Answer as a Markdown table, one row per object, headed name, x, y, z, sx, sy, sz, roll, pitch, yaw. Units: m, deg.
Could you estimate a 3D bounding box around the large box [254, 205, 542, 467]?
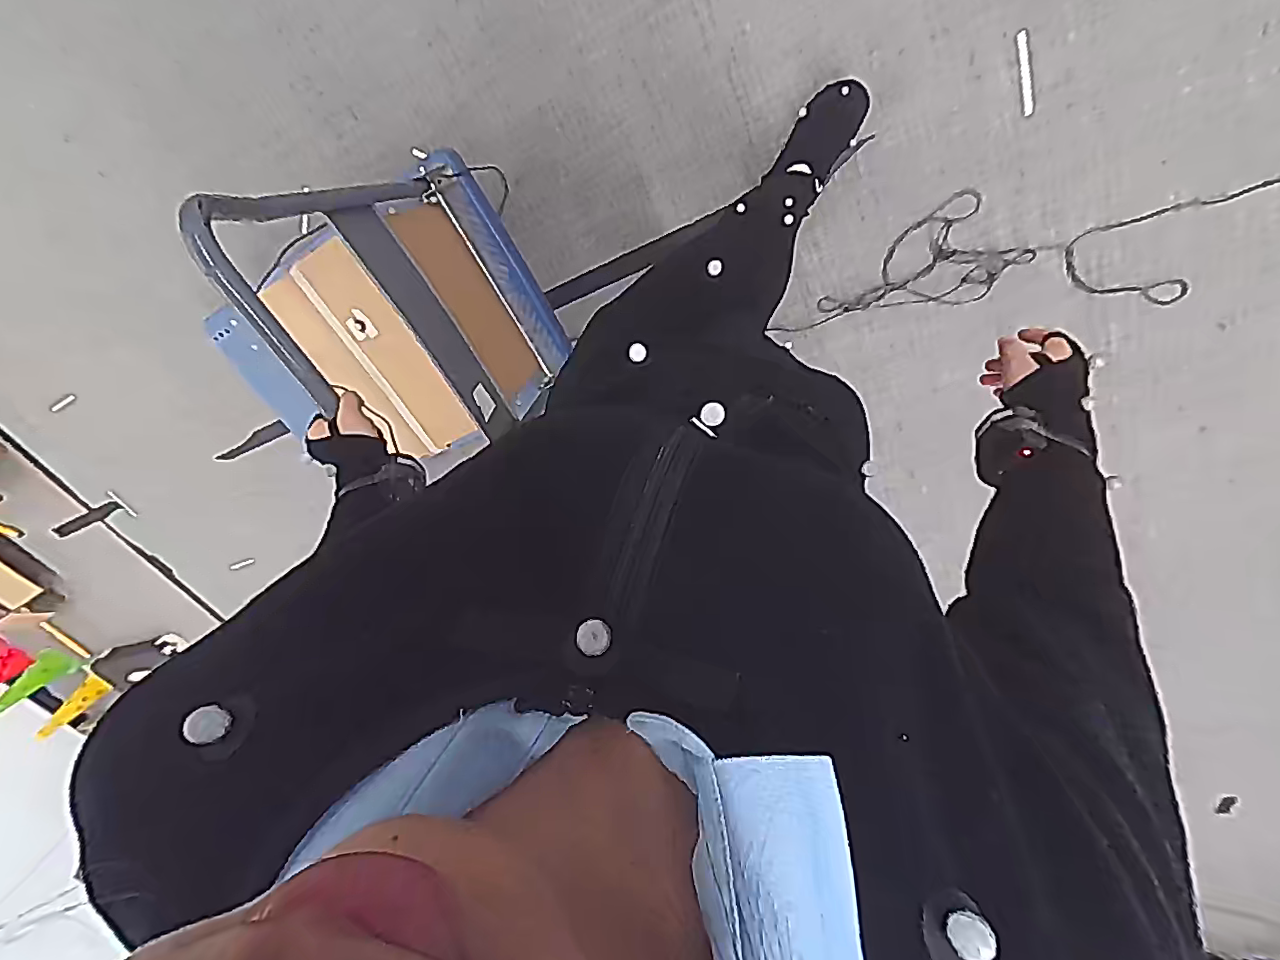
| name | x | y | z | sx | sy | sz | roll | pitch | yaw |
| --- | --- | --- | --- | --- | --- | --- | --- | --- | --- |
| large box | -0.479 | -0.307 | 1.163 | 0.320 | 0.320 | 0.408 | -20 | 116 | 22 |
